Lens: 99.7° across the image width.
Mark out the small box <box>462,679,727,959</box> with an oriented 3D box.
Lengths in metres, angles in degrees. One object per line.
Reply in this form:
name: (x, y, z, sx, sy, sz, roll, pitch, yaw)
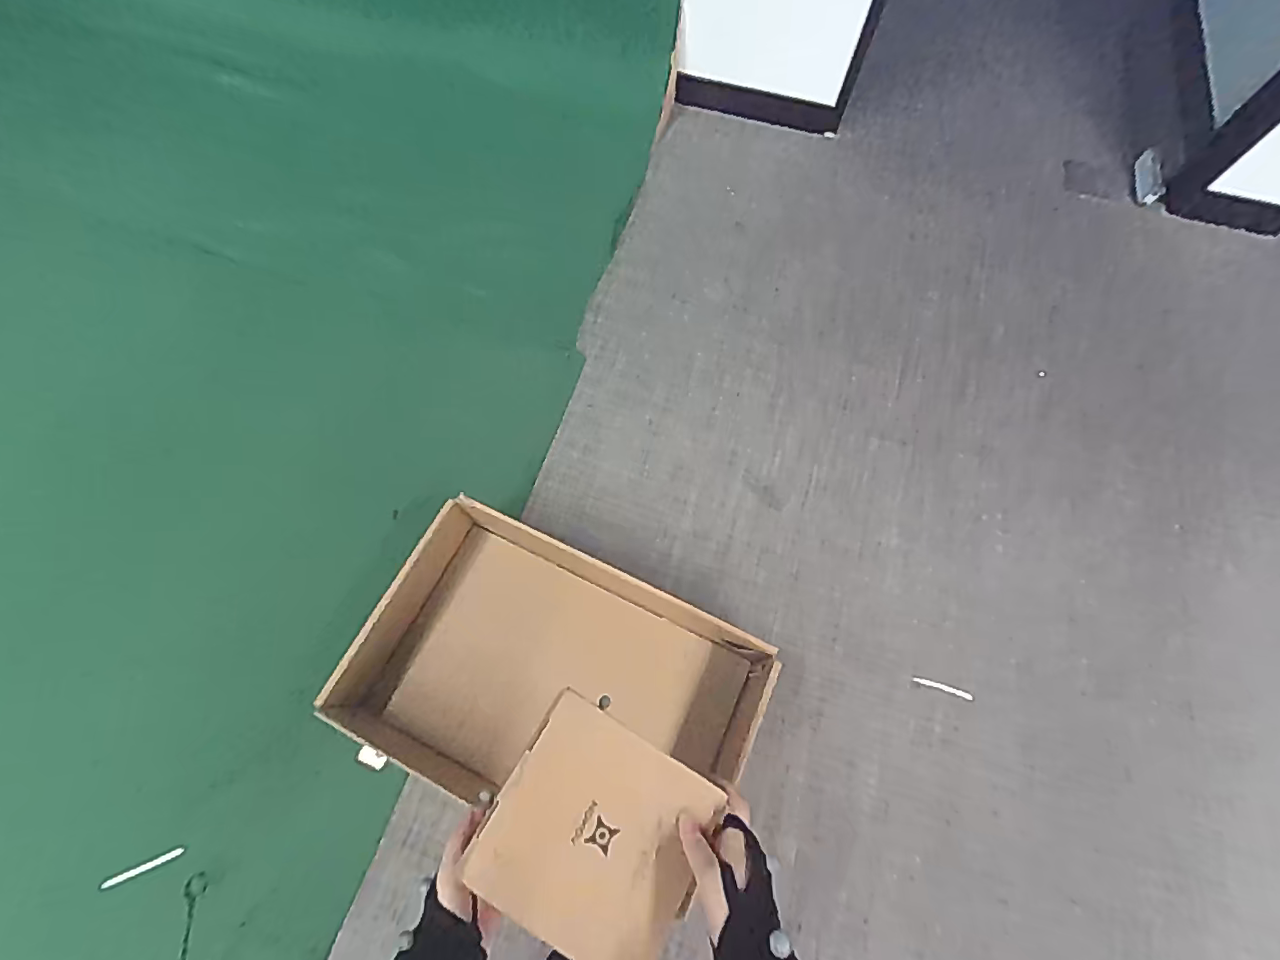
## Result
small box: (-0.047, 0.323, 0.539, 0.179, 0.176, 0.168, 33, 67, 4)
